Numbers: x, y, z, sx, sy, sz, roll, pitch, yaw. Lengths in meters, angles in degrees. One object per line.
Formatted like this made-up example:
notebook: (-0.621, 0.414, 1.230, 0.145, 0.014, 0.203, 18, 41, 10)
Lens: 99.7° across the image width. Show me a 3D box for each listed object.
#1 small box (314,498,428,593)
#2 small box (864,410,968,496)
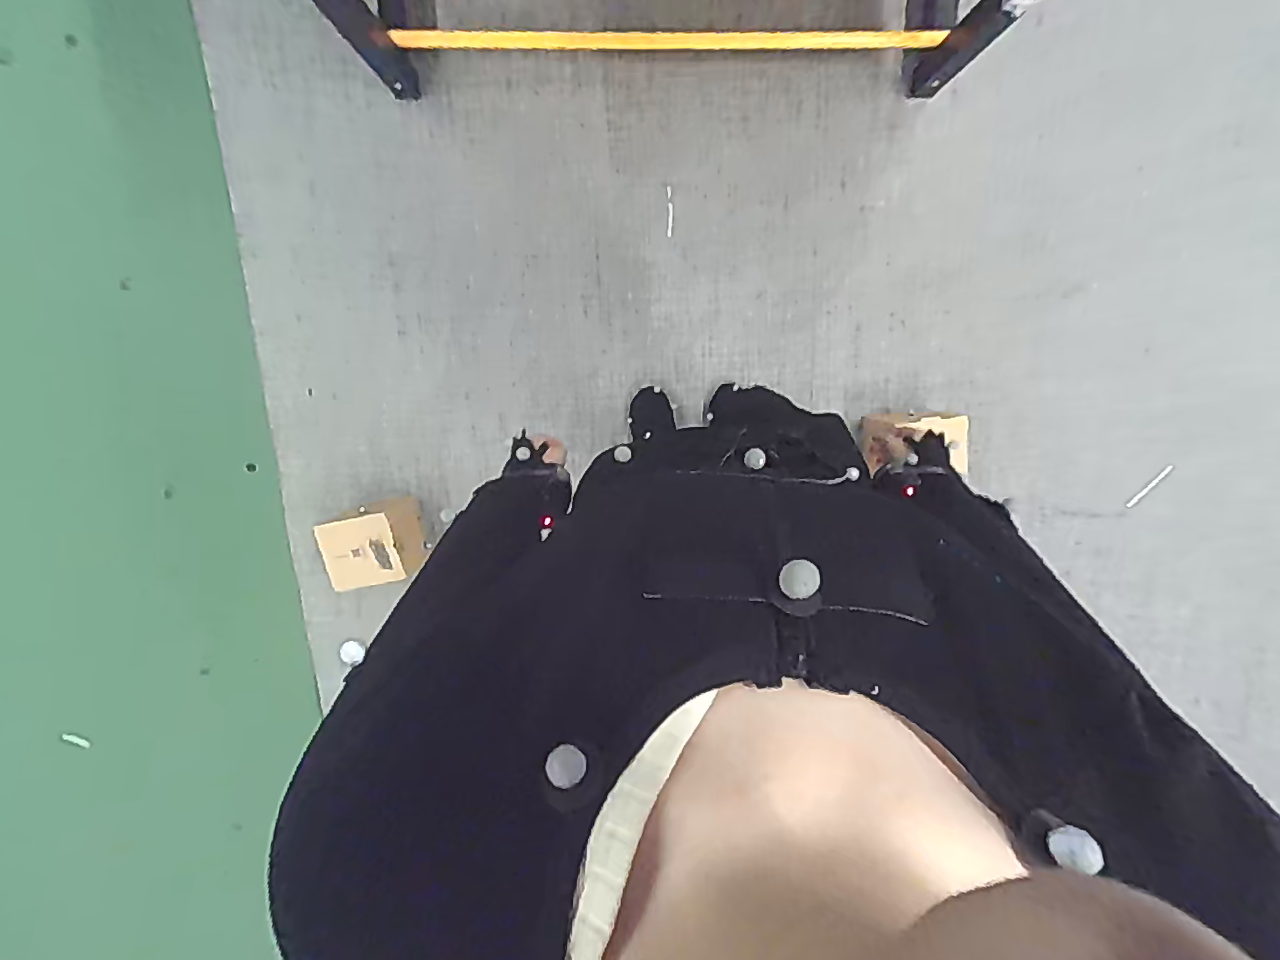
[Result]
small box: (-0.632, 0.150, 1.302, 0.179, 0.176, 0.168, -11, 101, 3)
small box: (0.643, -0.070, 1.274, 0.168, 0.176, 0.179, -7, 101, 1)
